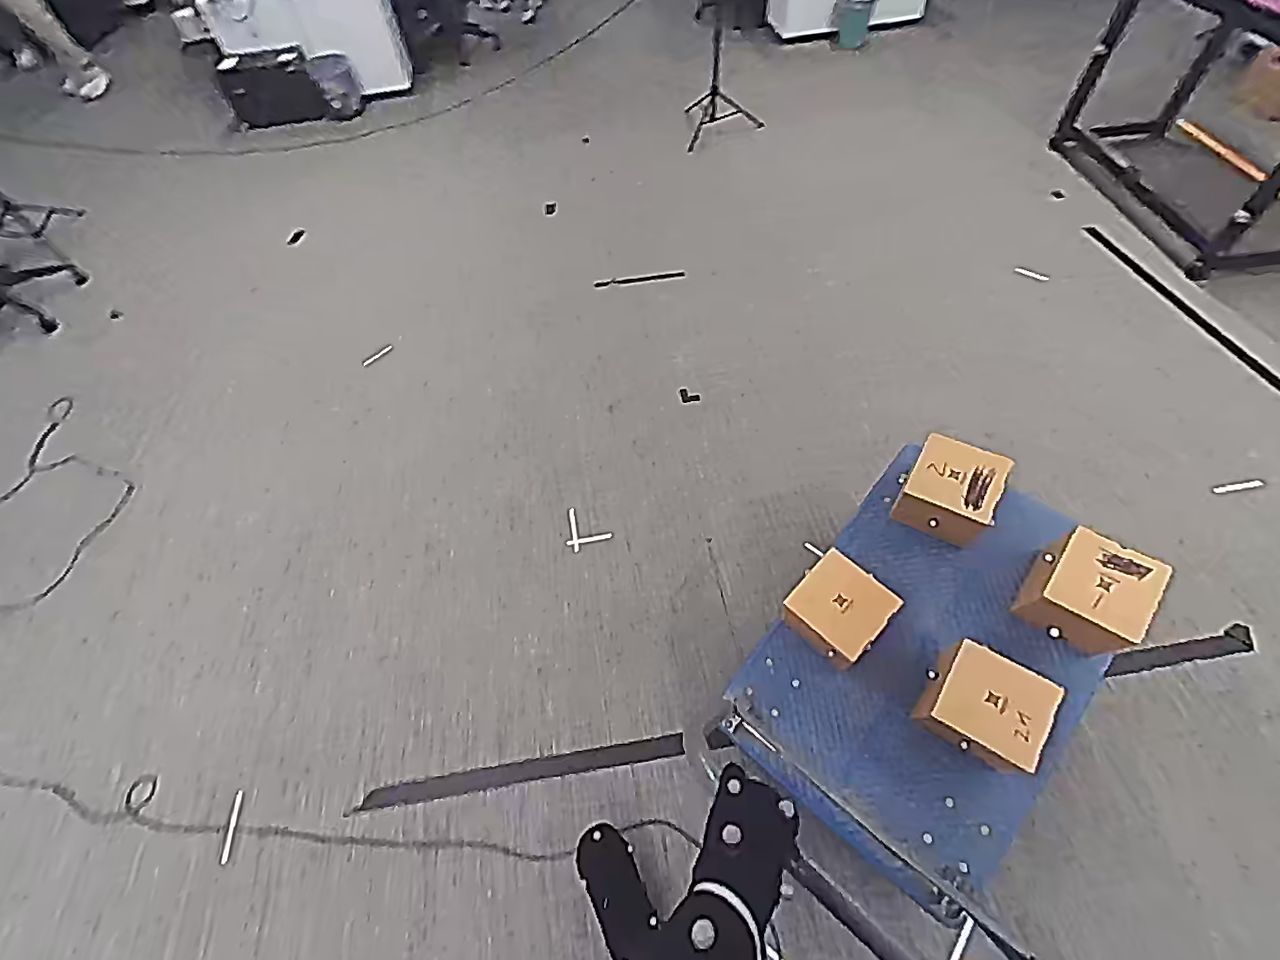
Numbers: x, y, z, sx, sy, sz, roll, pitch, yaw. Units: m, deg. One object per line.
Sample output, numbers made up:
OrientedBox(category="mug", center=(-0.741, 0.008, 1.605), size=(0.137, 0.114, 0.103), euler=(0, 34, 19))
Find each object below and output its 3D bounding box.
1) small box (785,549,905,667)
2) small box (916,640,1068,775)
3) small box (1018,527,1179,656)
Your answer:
OrientedBox(category="small box", center=(0.432, 0.285, 1.175), size=(0.168, 0.176, 0.179), euler=(-45, 65, -9))
OrientedBox(category="small box", center=(0.665, 0.439, 1.045), size=(0.179, 0.176, 0.168), euler=(28, 75, 24))
OrientedBox(category="small box", center=(0.905, 0.229, 1.086), size=(0.168, 0.176, 0.179), euler=(31, 77, 25))
